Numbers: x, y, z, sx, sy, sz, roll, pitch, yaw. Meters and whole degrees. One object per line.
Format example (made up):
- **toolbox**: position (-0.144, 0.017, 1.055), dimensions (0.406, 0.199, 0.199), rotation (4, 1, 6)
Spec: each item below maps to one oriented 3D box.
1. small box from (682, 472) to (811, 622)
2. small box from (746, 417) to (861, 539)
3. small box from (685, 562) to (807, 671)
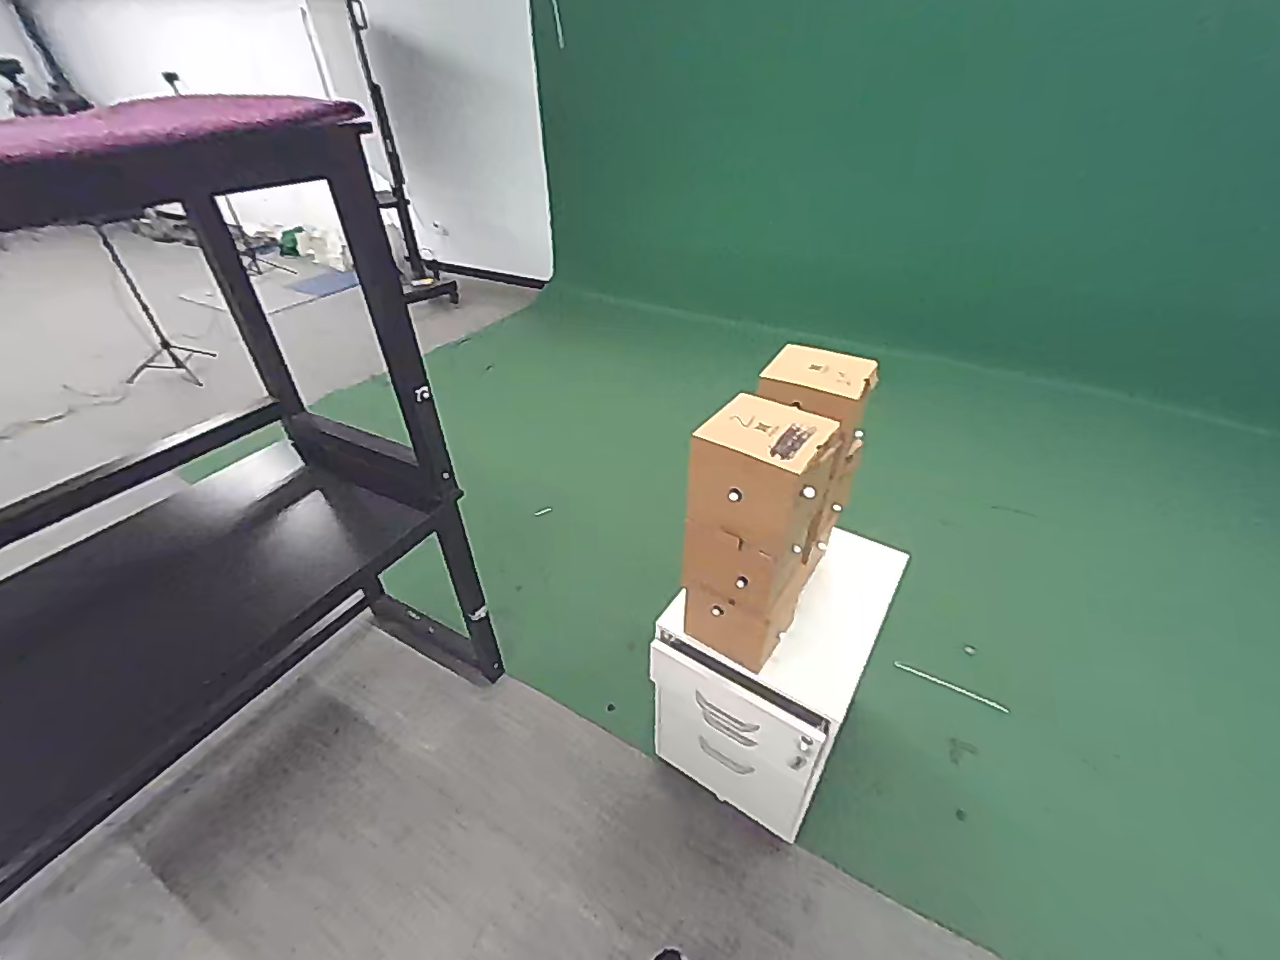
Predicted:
- **small box**: position (0.186, 0.118, 0.965), dimensions (0.168, 0.176, 0.179), rotation (22, 41, 26)
- **small box**: position (0.329, -0.005, 1.129), dimensions (0.179, 0.176, 0.168), rotation (25, 44, 29)
- **small box**: position (0.203, 0.241, 1.070), dimensions (0.179, 0.176, 0.168), rotation (24, 42, 29)
